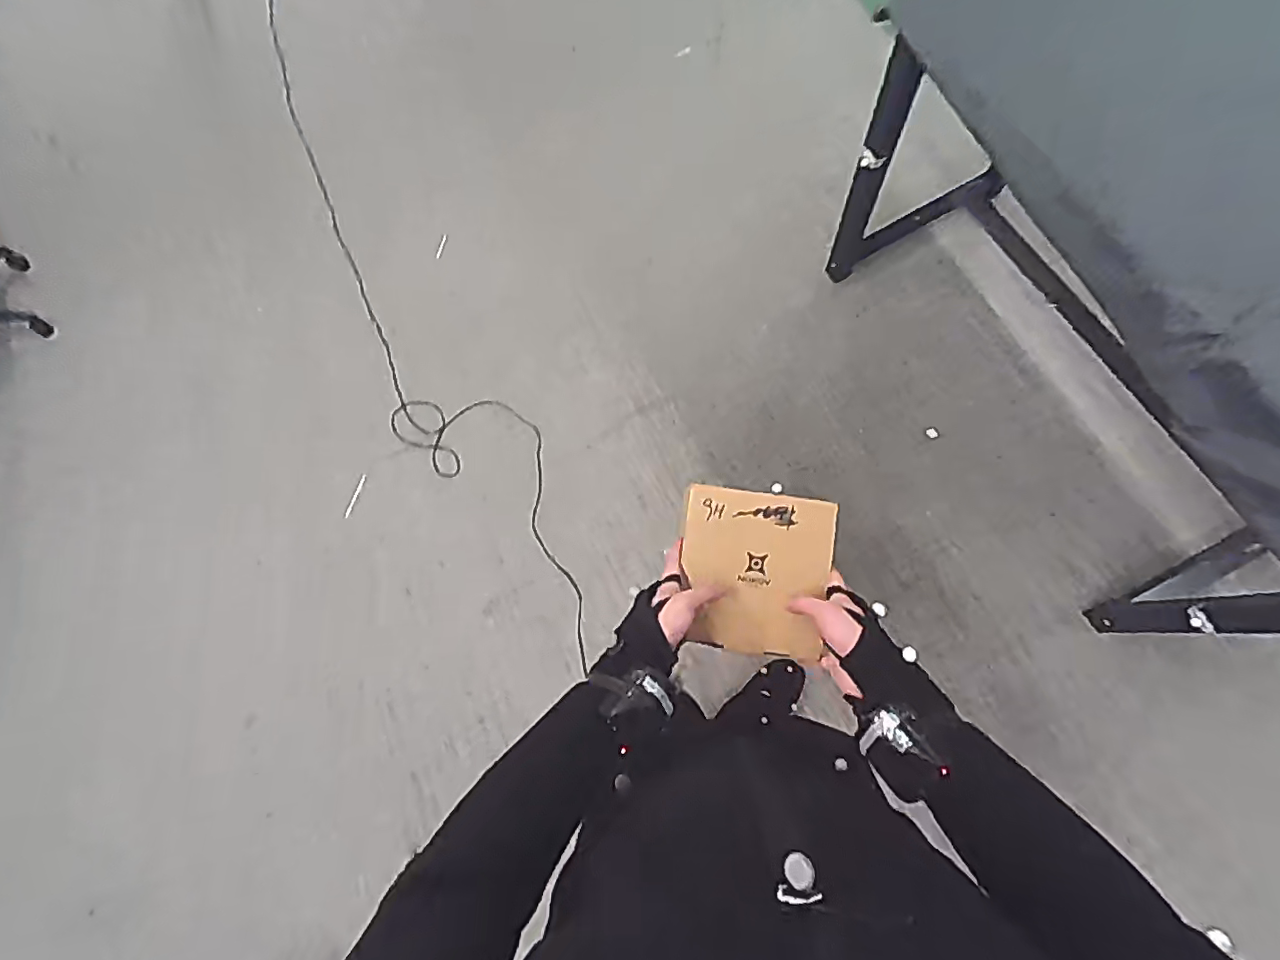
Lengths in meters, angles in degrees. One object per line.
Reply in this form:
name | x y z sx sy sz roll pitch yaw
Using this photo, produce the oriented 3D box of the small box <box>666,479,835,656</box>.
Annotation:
small box | 0.124 0.098 0.665 0.168 0.176 0.179 7 87 2
